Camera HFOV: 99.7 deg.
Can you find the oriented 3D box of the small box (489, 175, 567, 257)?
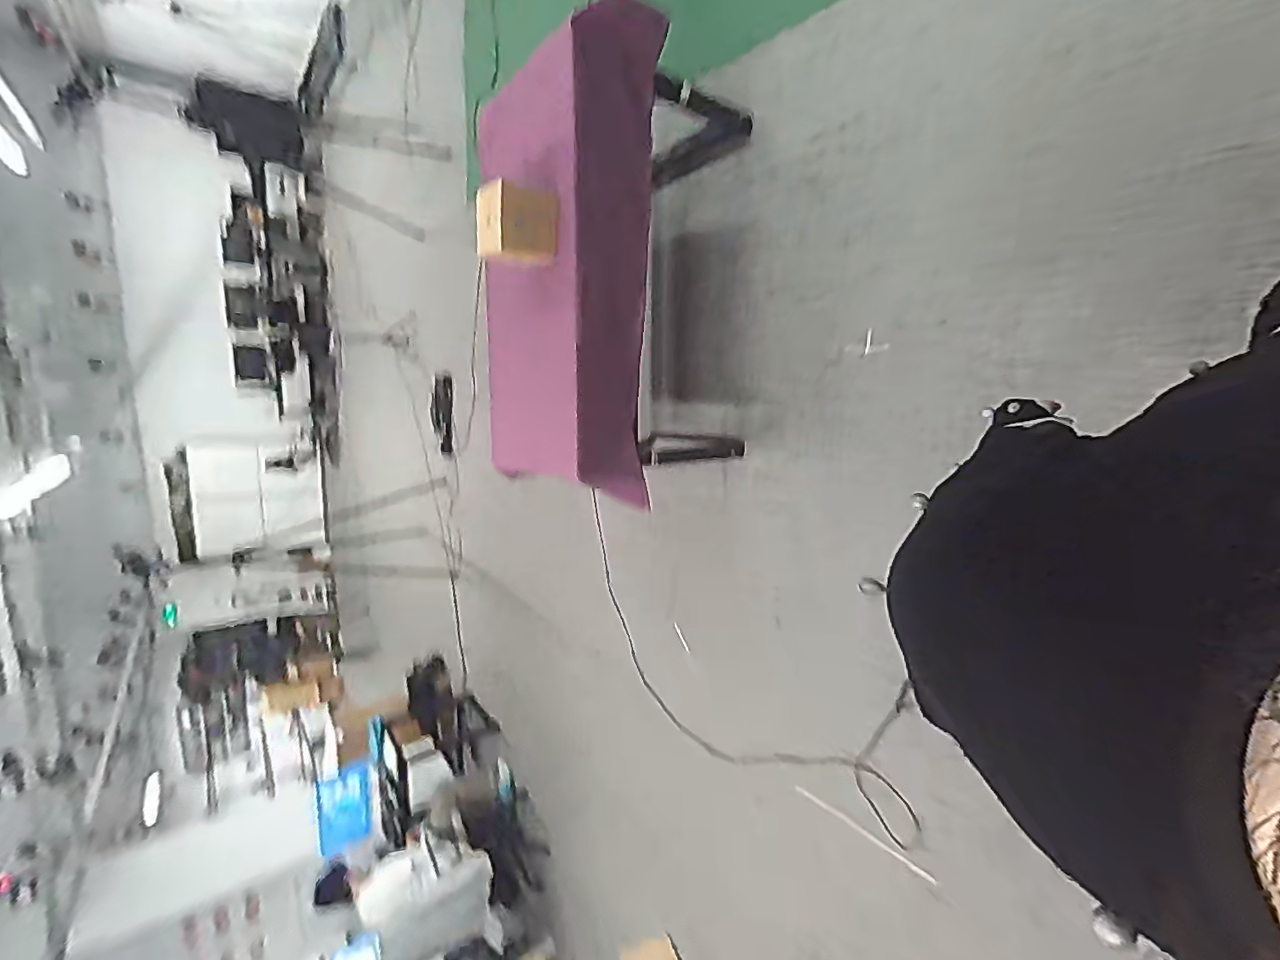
[{"bbox_3d":[-0.319,-0.741,1.541,0.168,0.176,0.179,20,110,49],"label":"small box"}]
